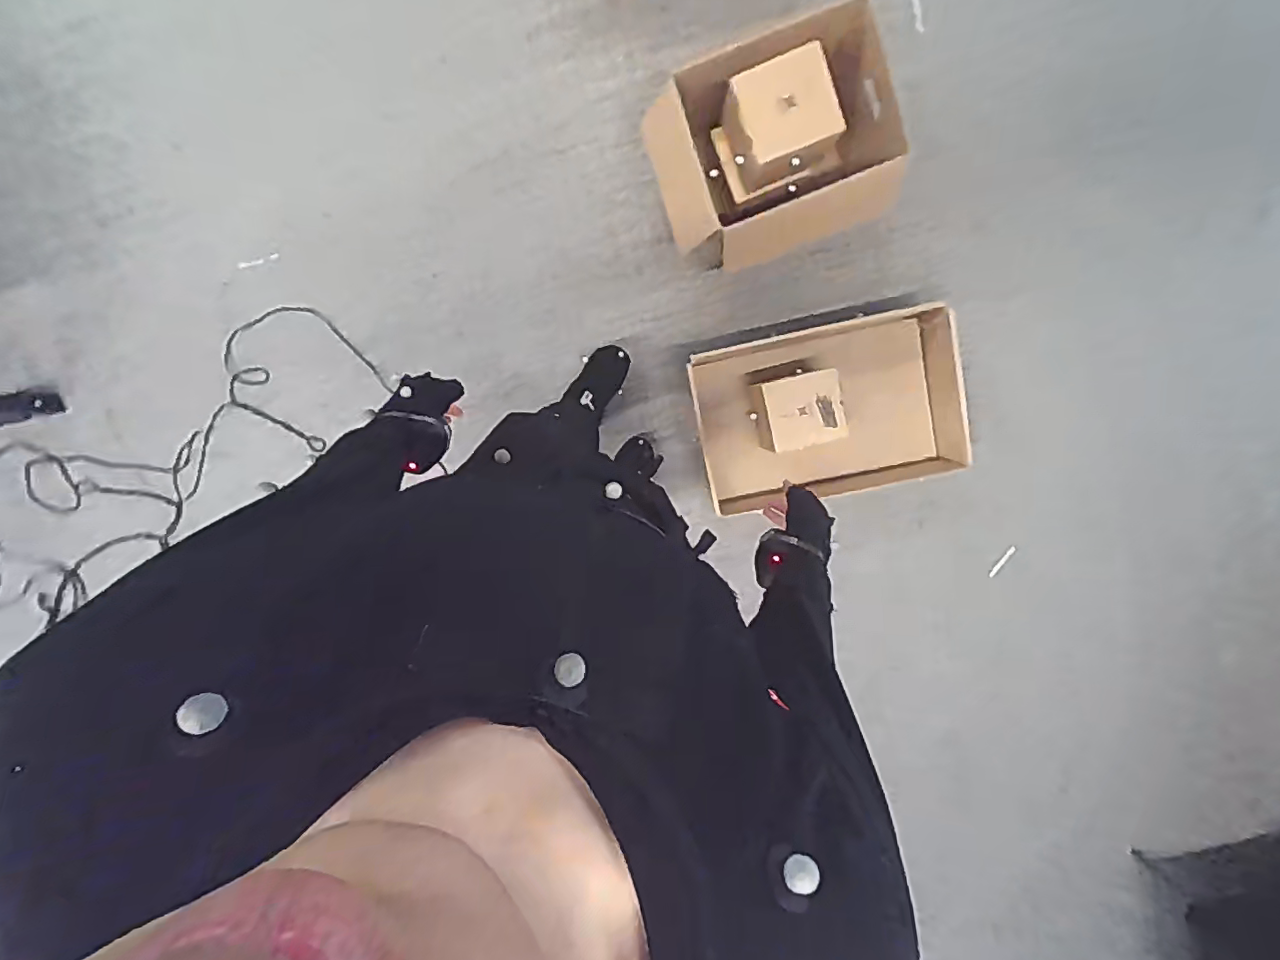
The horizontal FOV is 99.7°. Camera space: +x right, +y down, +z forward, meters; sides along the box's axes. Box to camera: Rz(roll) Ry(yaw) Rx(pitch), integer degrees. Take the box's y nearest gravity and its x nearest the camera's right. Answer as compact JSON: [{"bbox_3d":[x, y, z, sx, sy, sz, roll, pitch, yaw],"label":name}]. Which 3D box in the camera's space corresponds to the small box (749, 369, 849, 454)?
[{"bbox_3d":[0.377,-0.168,1.305,0.179,0.176,0.168,-13,98,2],"label":"small box"}]

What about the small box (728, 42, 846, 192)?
[{"bbox_3d":[0.285,-0.718,1.093,0.179,0.176,0.168,-20,98,5],"label":"small box"}]
